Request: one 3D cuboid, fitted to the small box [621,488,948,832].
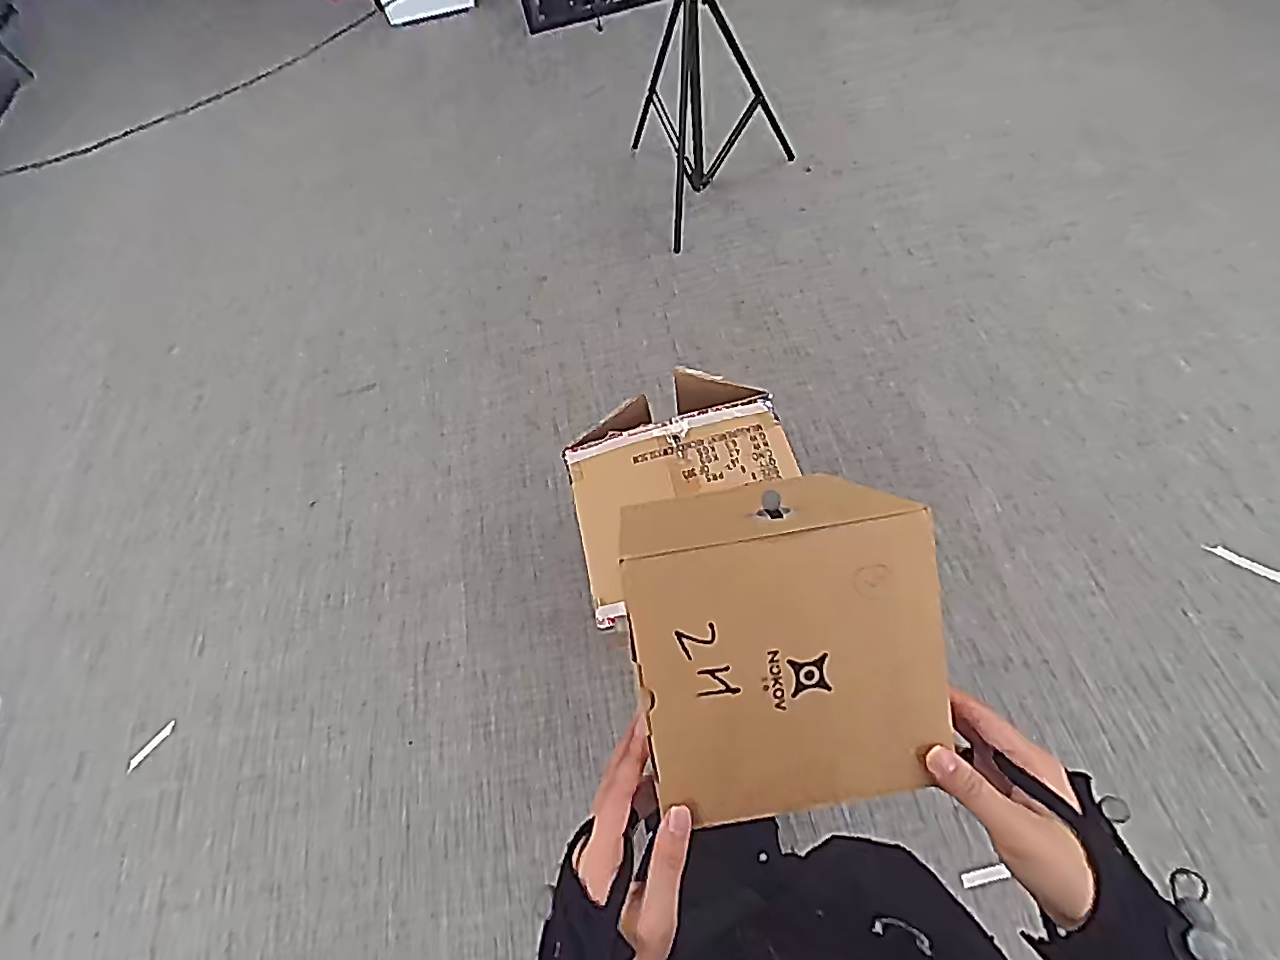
[{"bbox_3d":[0.083,0.105,0.389,0.179,0.176,0.168,-9,96,0],"label":"small box"}]
